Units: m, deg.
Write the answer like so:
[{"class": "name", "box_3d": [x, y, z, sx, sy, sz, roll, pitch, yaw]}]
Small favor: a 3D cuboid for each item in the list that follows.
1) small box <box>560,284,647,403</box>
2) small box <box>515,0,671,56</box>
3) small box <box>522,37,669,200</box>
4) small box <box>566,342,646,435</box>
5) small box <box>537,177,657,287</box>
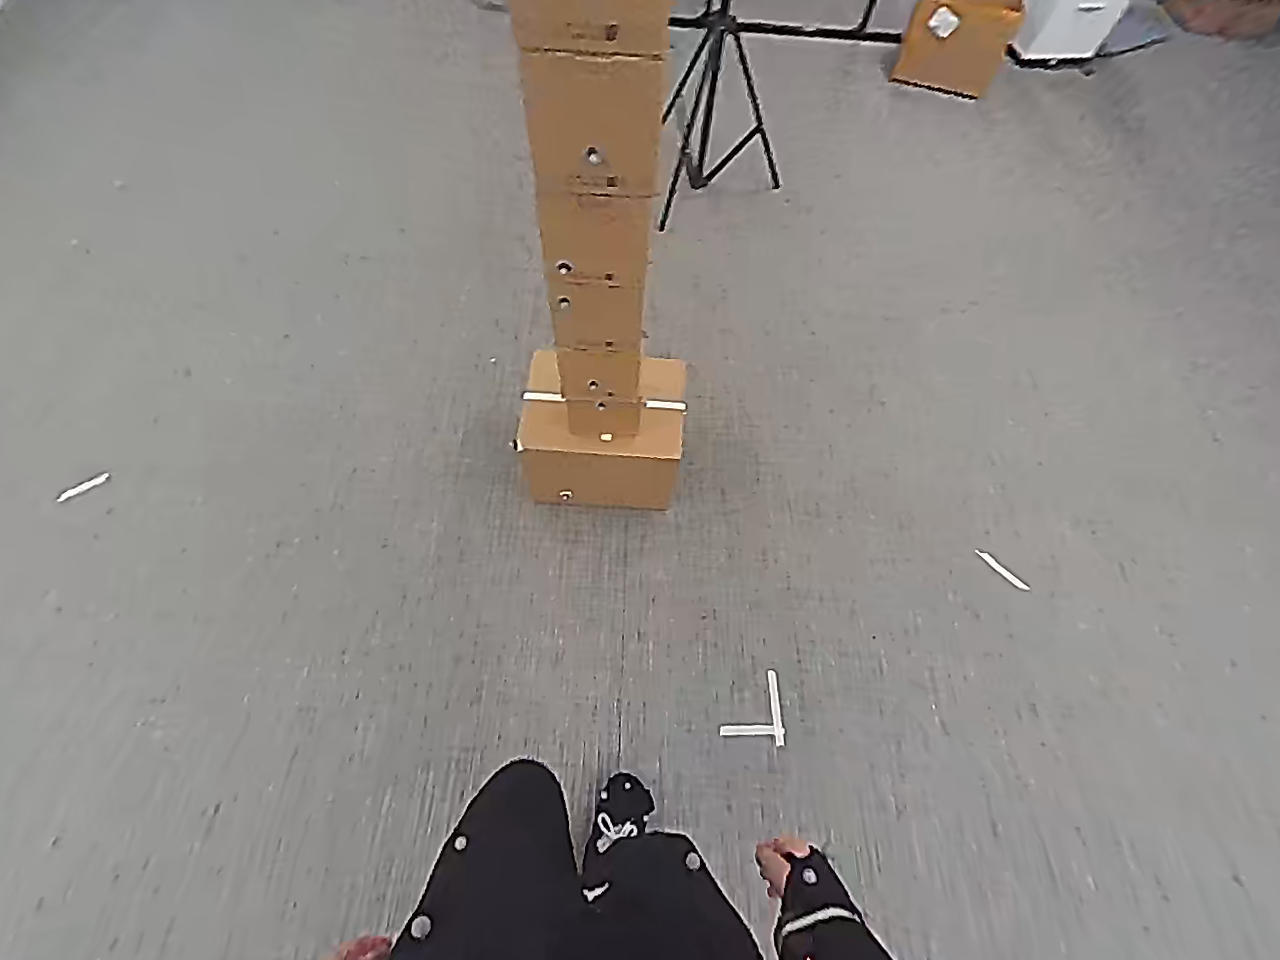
[{"class": "small box", "box_3d": [-0.075, -0.286, 1.148, 0.168, 0.176, 0.179, 2, 64, -2]}, {"class": "small box", "box_3d": [-0.048, -0.578, 0.561, 0.168, 0.176, 0.179, 1, 65, -3]}, {"class": "small box", "box_3d": [-0.052, -0.502, 0.706, 0.168, 0.176, 0.179, 2, 64, -1]}, {"class": "small box", "box_3d": [-0.078, -0.219, 1.296, 0.179, 0.176, 0.168, 2, 64, -3]}, {"class": "small box", "box_3d": [-0.059, -0.430, 0.854, 0.168, 0.176, 0.179, 5, 63, -1]}]
